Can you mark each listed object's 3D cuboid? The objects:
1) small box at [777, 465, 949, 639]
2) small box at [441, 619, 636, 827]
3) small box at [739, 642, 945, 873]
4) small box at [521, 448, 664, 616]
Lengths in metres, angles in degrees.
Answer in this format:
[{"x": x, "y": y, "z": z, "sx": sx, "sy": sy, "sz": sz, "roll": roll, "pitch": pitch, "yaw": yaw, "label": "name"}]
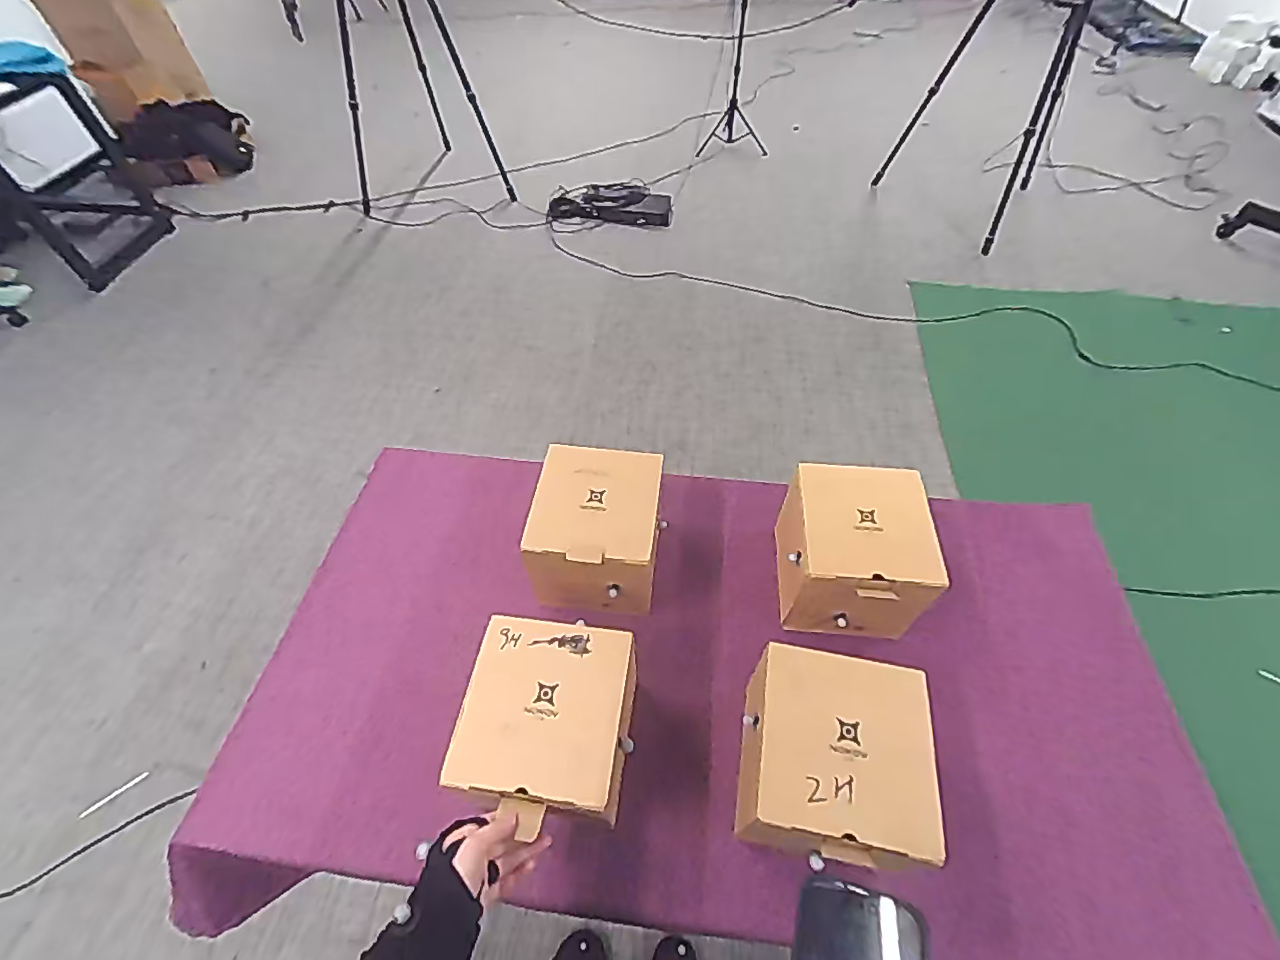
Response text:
[{"x": 0.291, "y": 0.101, "z": 0.754, "sx": 0.168, "sy": 0.176, "sz": 0.179, "roll": 3, "pitch": 53, "yaw": 4, "label": "small box"}, {"x": -0.097, "y": 0.283, "z": 0.621, "sx": 0.168, "sy": 0.176, "sz": 0.179, "roll": 6, "pitch": 53, "yaw": 6, "label": "small box"}, {"x": 0.206, "y": 0.307, "z": 0.595, "sx": 0.168, "sy": 0.176, "sz": 0.179, "roll": 9, "pitch": 53, "yaw": 8, "label": "small box"}, {"x": -0.057, "y": 0.079, "z": 0.778, "sx": 0.168, "sy": 0.176, "sz": 0.179, "roll": 6, "pitch": 53, "yaw": 4, "label": "small box"}]
